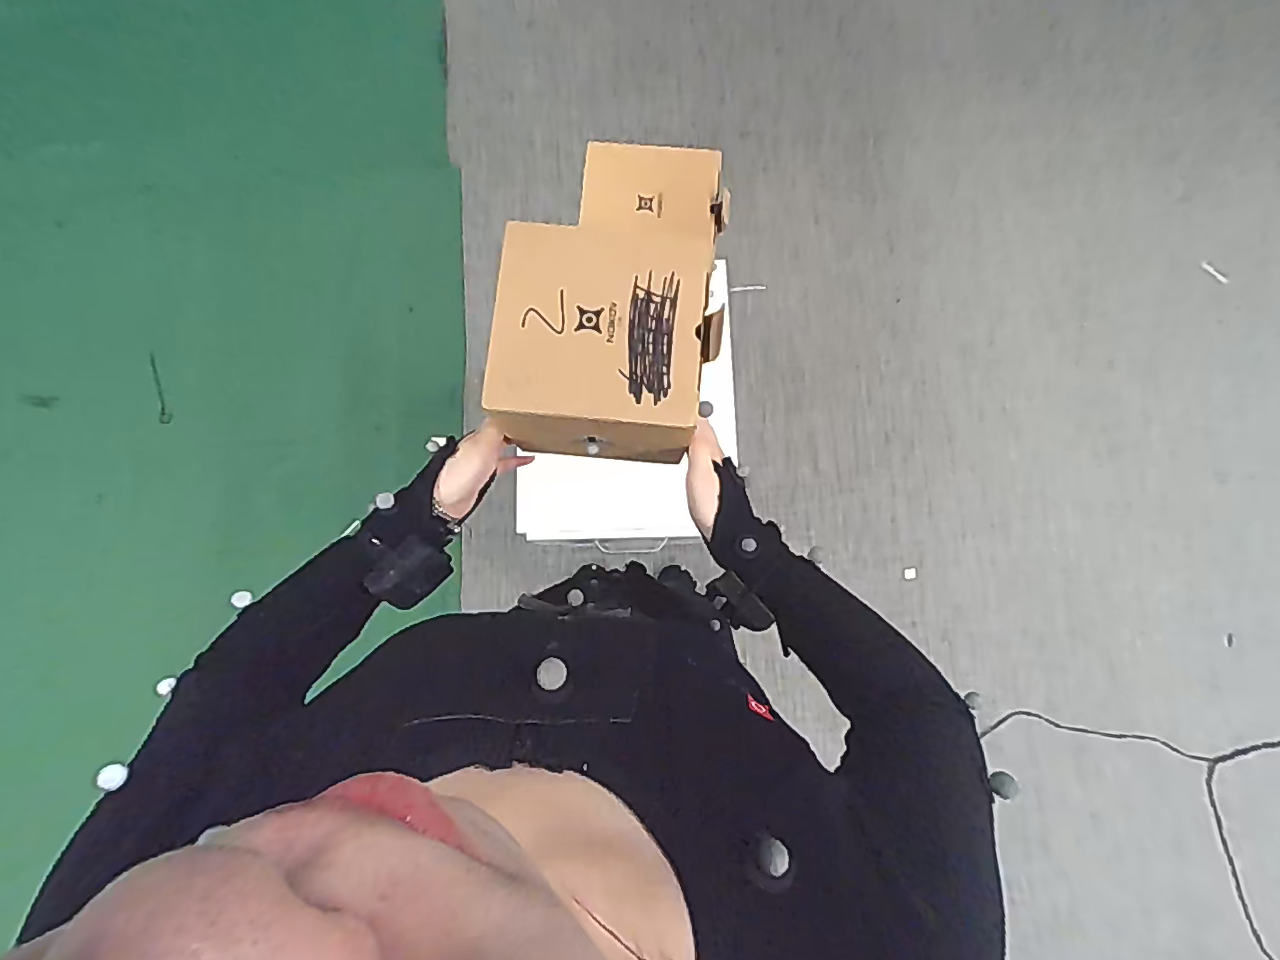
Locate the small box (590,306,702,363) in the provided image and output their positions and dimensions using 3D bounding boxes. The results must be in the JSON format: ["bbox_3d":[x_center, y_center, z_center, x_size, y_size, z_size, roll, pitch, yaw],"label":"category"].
[{"bbox_3d":[0.018,-0.311,0.925,0.179,0.176,0.168,5,81,2],"label":"small box"}]

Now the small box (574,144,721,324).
[{"bbox_3d":[0.011,-0.335,0.764,0.179,0.176,0.168,5,81,1],"label":"small box"}]
